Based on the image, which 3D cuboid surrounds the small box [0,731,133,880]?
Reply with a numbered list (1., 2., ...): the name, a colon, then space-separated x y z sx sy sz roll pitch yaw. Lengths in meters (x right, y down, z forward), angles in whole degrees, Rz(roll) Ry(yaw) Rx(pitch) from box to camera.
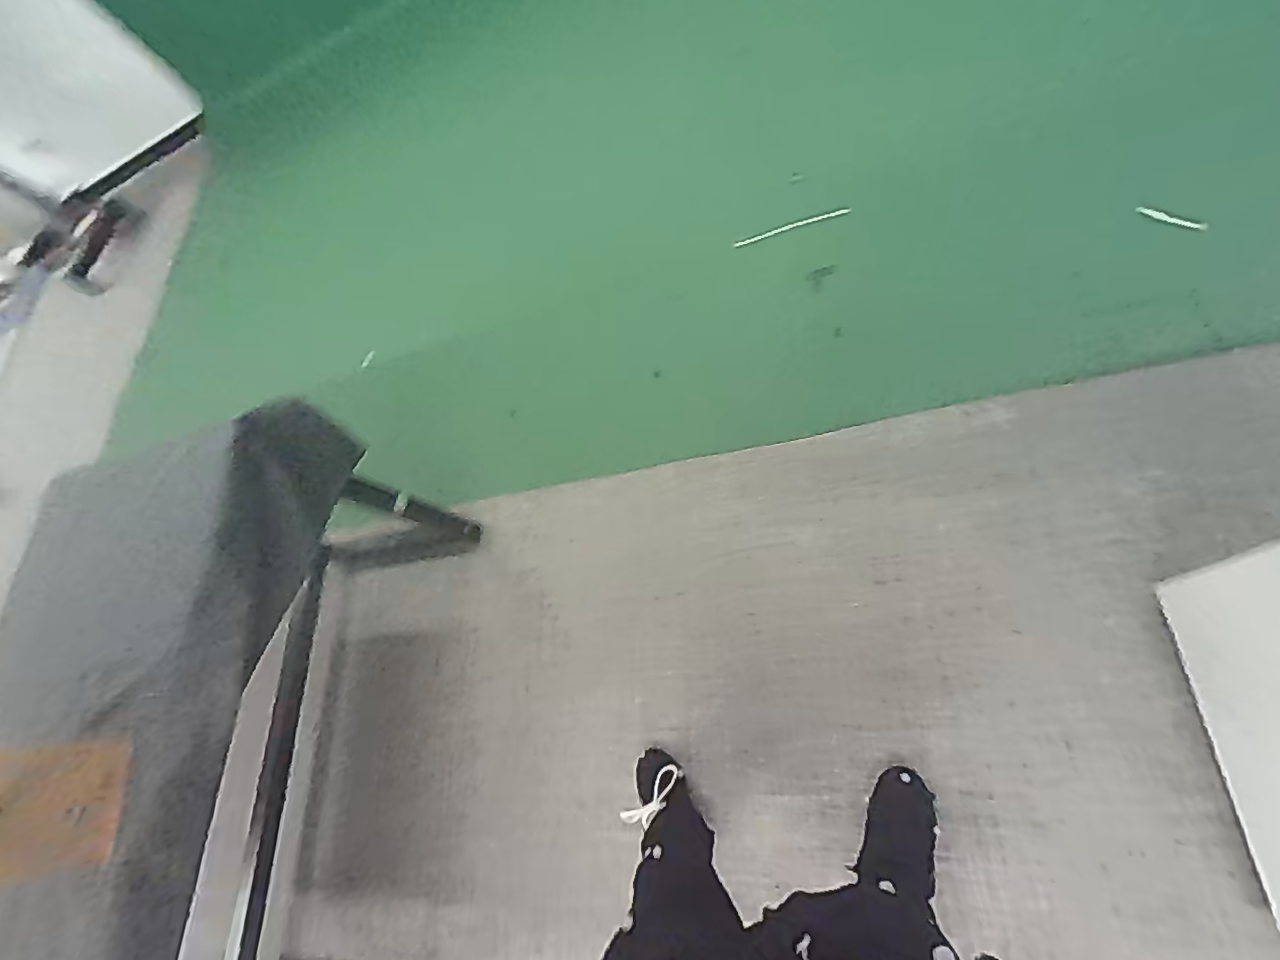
1. small box: -0.865 0.452 0.745 0.179 0.176 0.168 -18 65 17
